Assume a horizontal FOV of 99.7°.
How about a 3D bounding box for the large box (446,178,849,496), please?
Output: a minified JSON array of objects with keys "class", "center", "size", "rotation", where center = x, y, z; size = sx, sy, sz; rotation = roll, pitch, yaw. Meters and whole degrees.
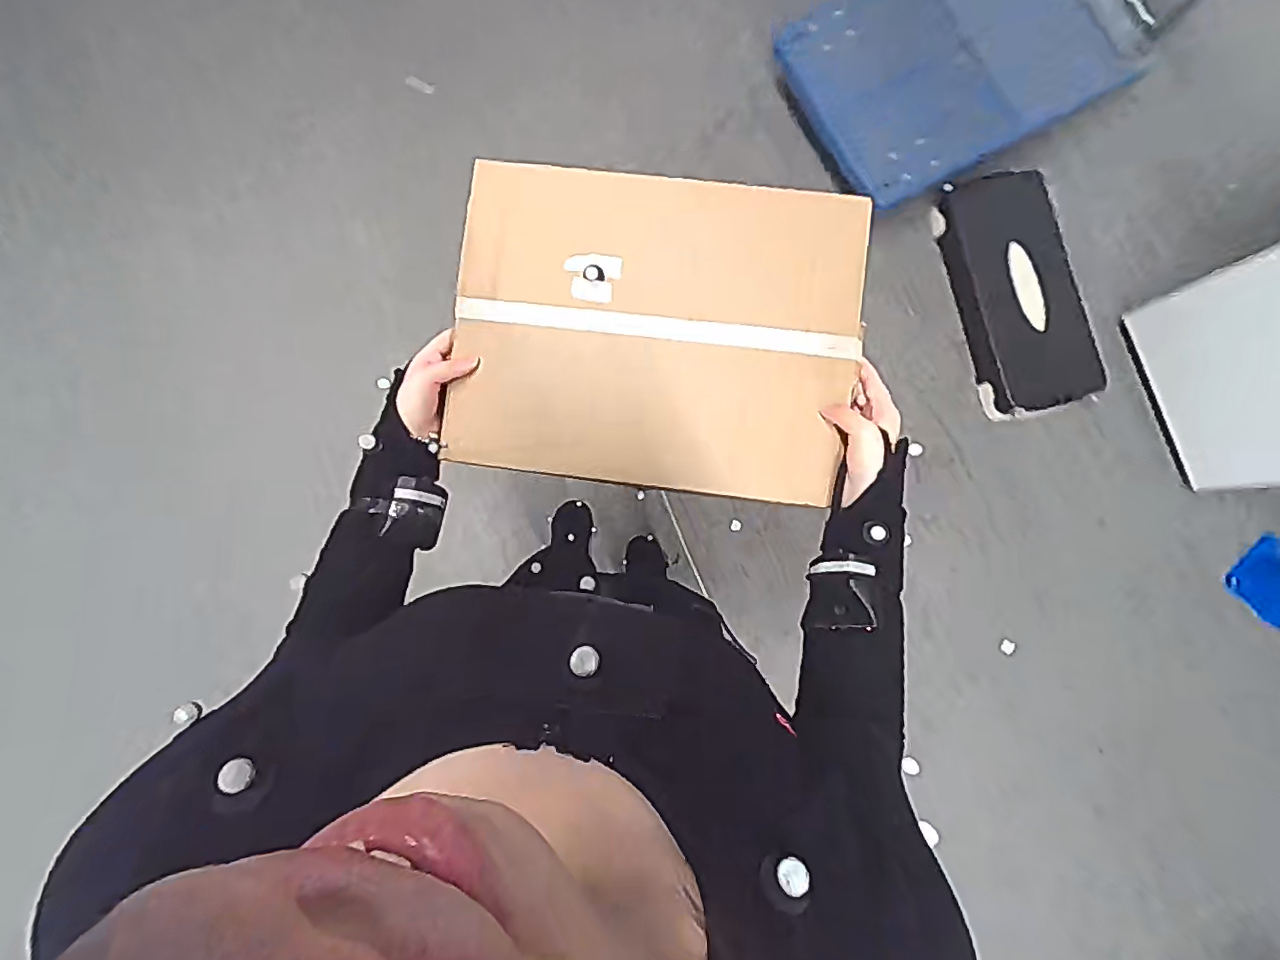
[{"class":"large box","center":[0.016,-0.151,0.705],"size":[0.408,0.320,0.320],"rotation":[6,89,4]}]
